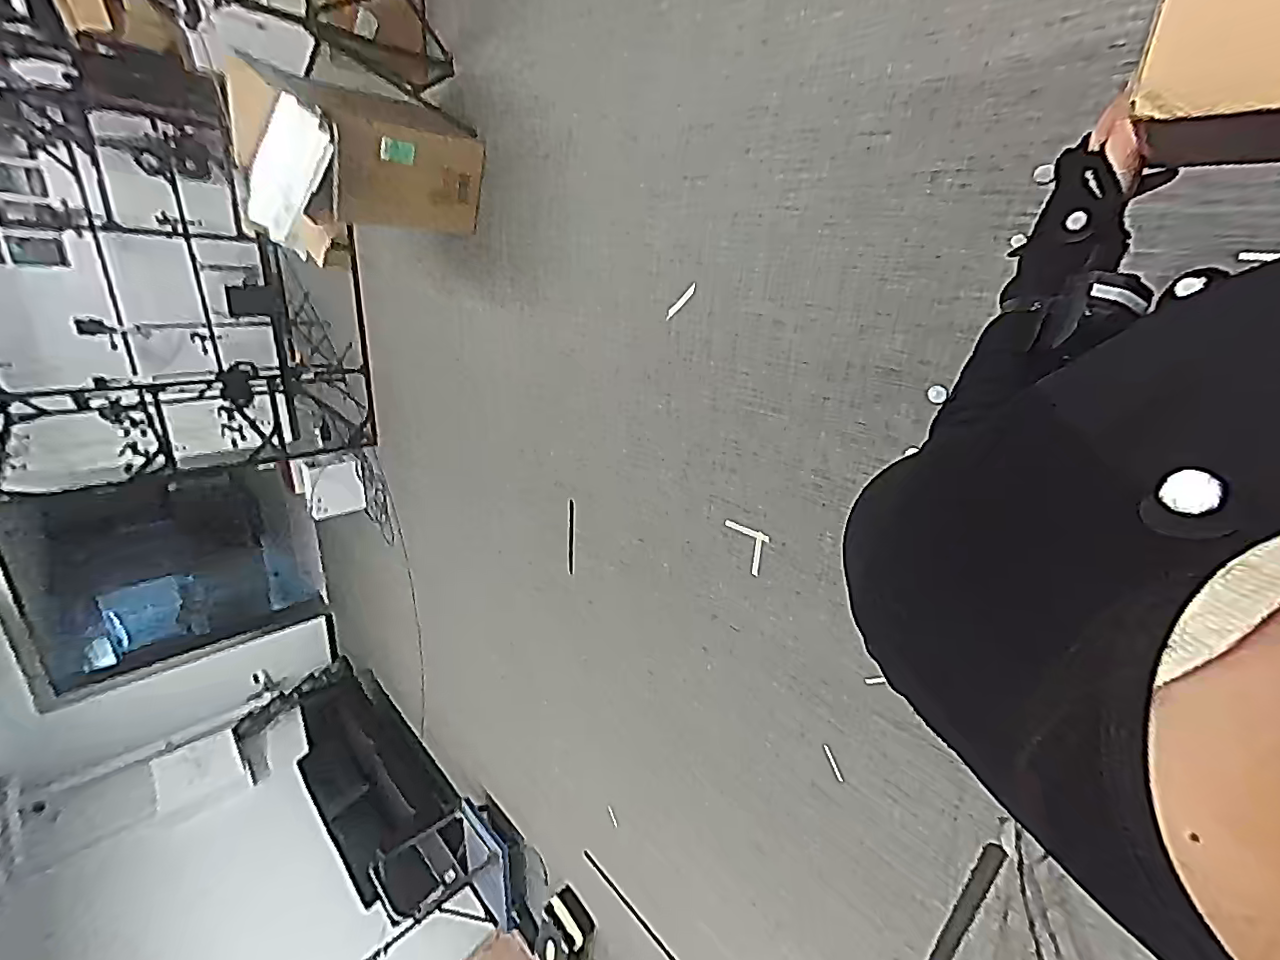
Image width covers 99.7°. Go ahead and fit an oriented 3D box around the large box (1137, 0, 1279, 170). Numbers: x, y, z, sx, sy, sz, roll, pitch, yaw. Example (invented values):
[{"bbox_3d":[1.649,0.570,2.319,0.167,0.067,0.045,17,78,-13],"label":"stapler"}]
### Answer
[{"bbox_3d":[0.454,-0.297,0.159,0.408,0.320,0.320,18,121,36],"label":"large box"}]
